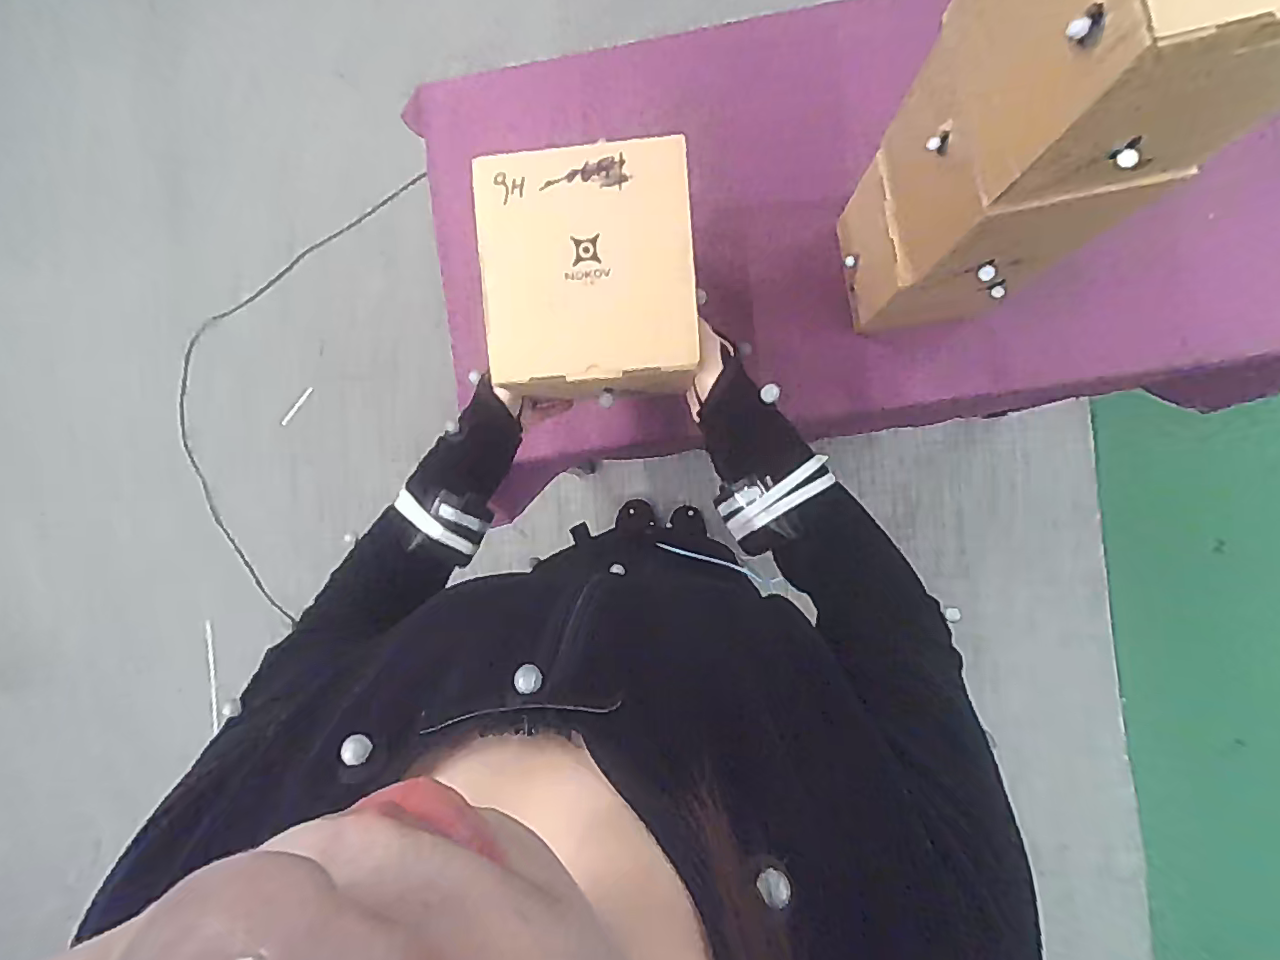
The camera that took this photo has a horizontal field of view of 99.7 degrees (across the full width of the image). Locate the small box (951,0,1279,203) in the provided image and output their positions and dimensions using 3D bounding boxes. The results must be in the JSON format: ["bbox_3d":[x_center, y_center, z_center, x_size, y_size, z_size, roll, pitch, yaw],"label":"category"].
[{"bbox_3d":[0.342,-0.328,0.366,0.168,0.176,0.179,-11,88,5],"label":"small box"}]

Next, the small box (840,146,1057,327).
[{"bbox_3d":[0.375,-0.309,0.689,0.179,0.176,0.168,-8,87,5],"label":"small box"}]

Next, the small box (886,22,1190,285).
[{"bbox_3d":[0.360,-0.317,0.527,0.168,0.176,0.179,-9,88,5],"label":"small box"}]

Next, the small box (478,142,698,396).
[{"bbox_3d":[-0.034,-0.171,0.497,0.168,0.176,0.179,-4,94,3],"label":"small box"}]
